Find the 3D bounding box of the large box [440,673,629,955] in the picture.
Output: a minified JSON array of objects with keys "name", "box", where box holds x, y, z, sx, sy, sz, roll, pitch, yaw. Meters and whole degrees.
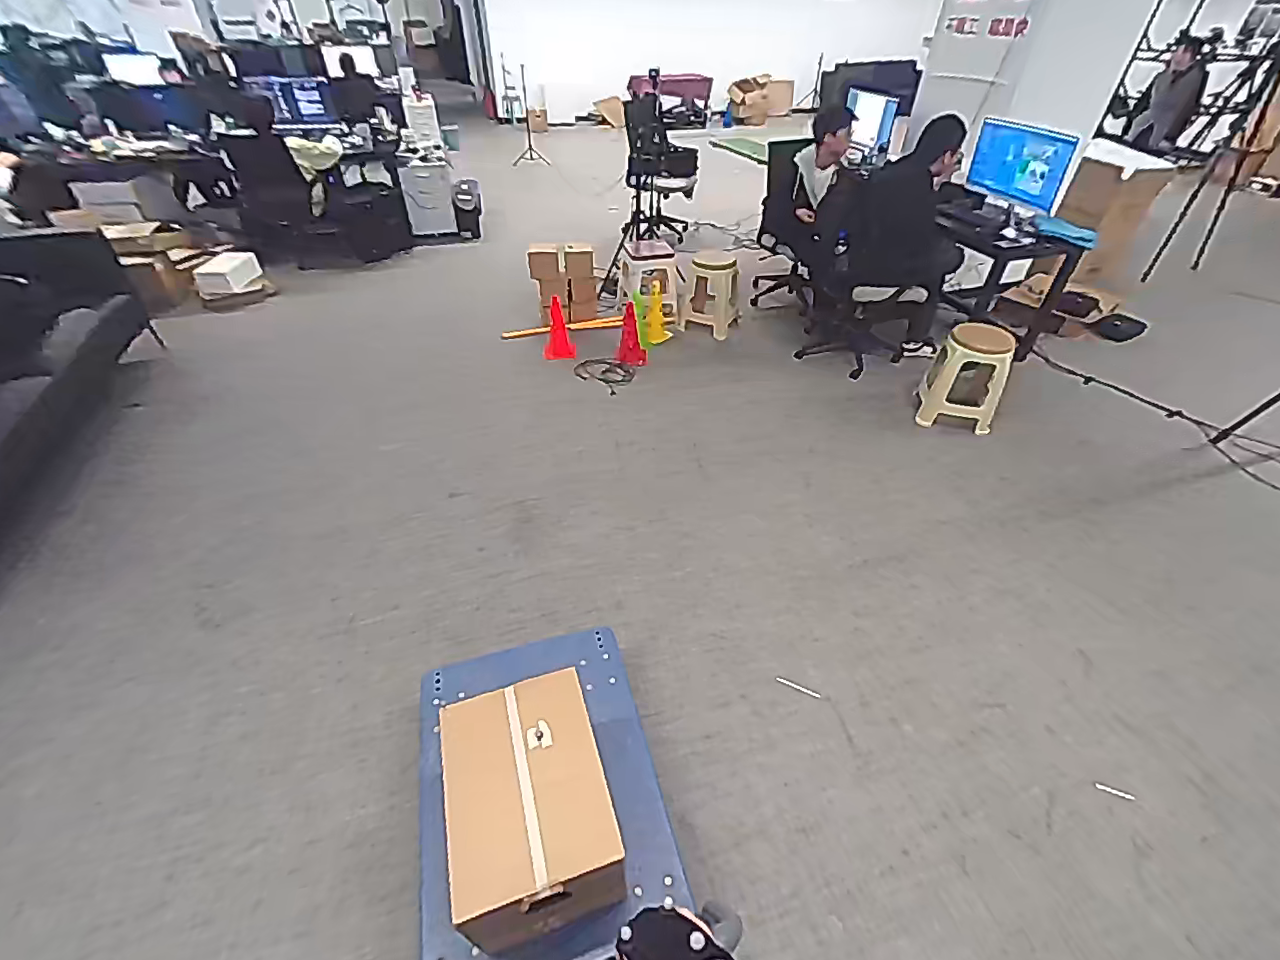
[{"name":"large box","box":[-0.234,0.725,1.202,0.320,0.320,0.408,-13,43,-14]}]
